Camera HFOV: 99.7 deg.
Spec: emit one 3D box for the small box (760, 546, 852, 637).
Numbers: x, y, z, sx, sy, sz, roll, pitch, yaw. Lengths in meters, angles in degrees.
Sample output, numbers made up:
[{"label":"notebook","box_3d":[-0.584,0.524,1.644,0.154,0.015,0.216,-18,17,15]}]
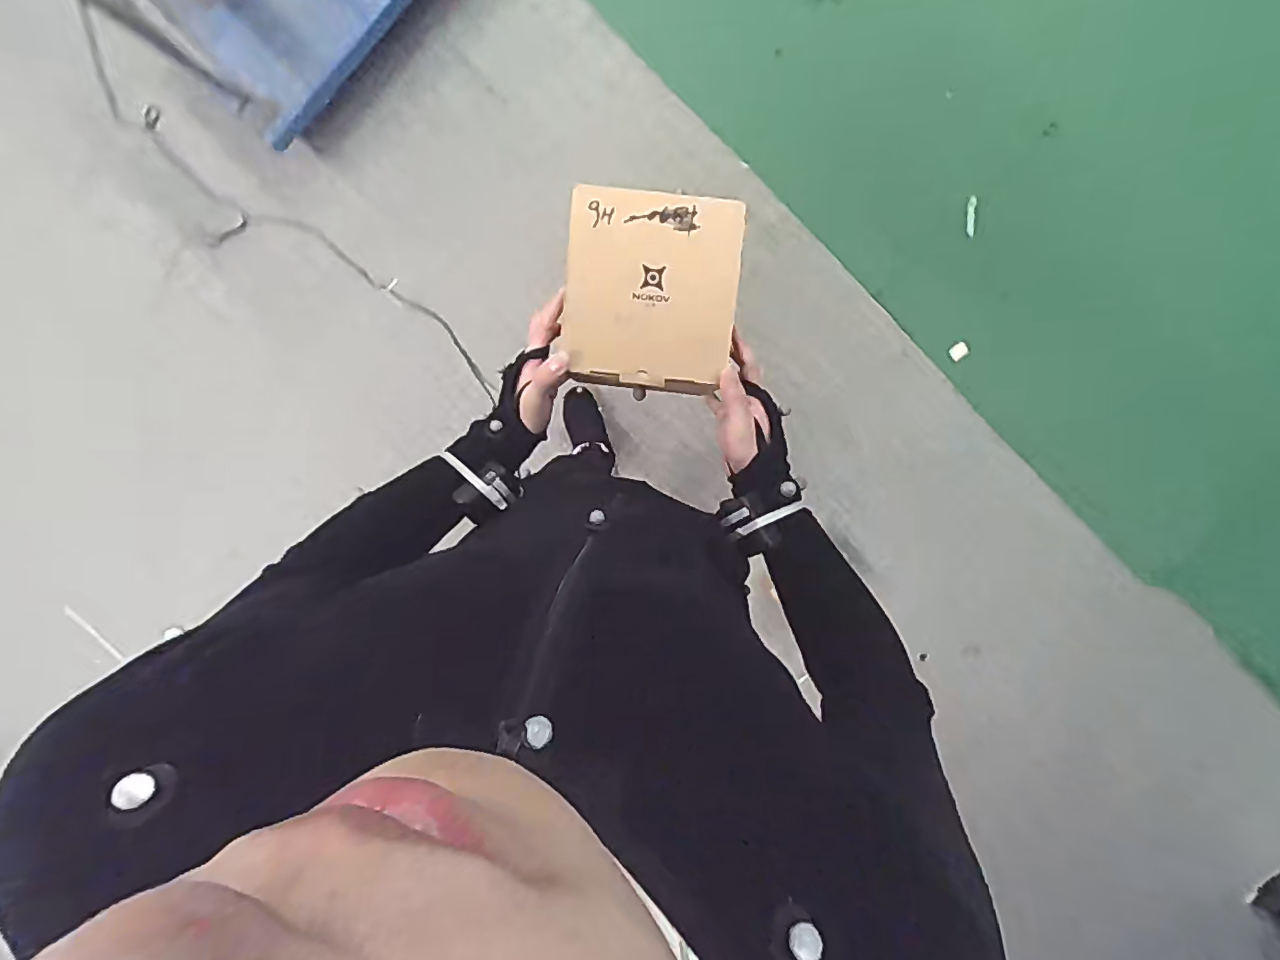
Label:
[{"label":"small box","box_3d":[0.469,0.313,1.562,0.179,0.176,0.168,-38,92,6]}]
